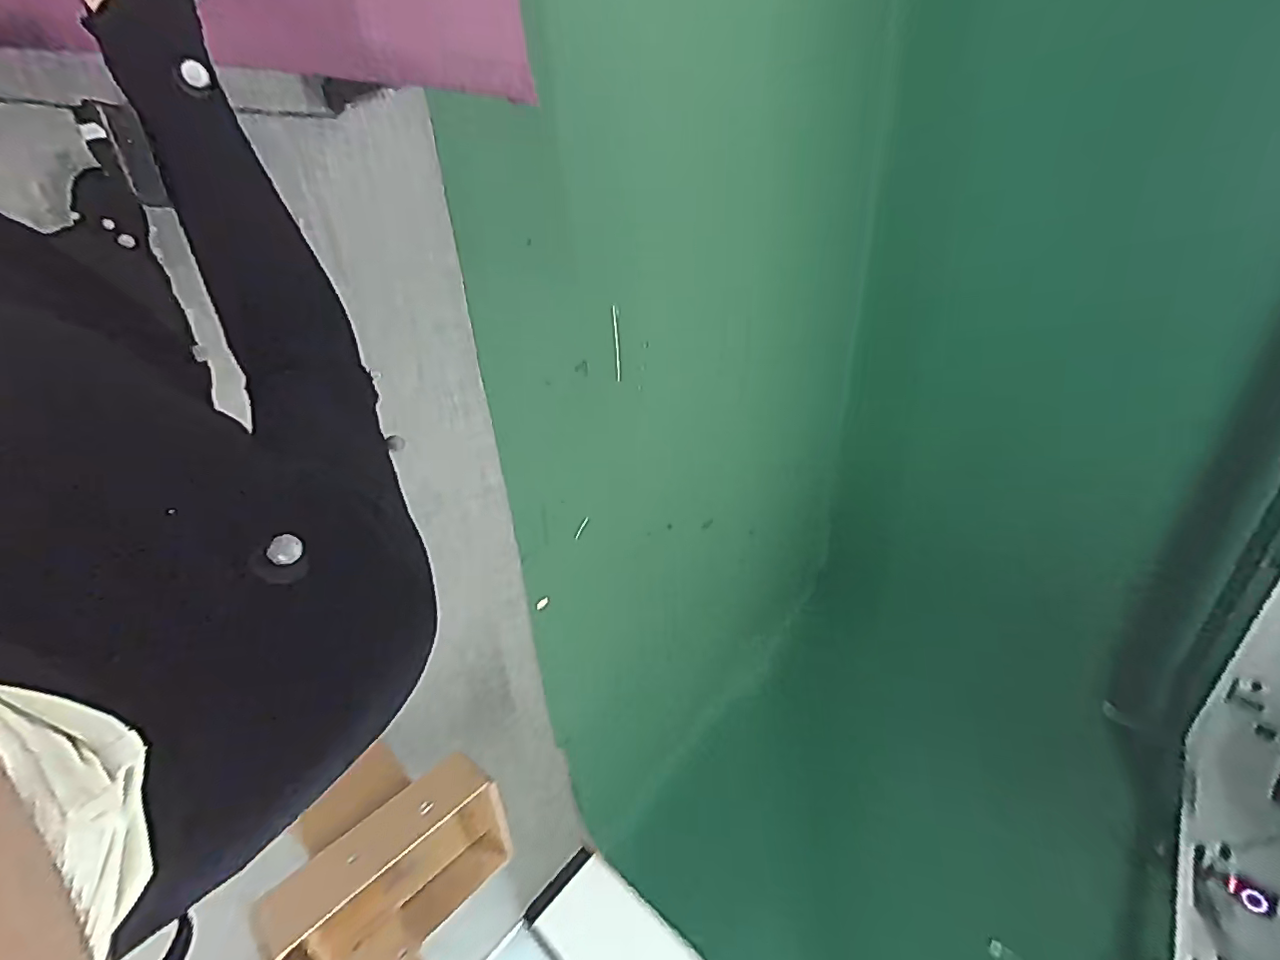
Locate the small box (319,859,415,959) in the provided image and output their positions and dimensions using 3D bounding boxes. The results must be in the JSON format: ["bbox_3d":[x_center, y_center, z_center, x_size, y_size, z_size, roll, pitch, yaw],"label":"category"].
[{"bbox_3d":[-0.755,1.207,1.496,0.168,0.176,0.179,-27,125,-39],"label":"small box"}]
